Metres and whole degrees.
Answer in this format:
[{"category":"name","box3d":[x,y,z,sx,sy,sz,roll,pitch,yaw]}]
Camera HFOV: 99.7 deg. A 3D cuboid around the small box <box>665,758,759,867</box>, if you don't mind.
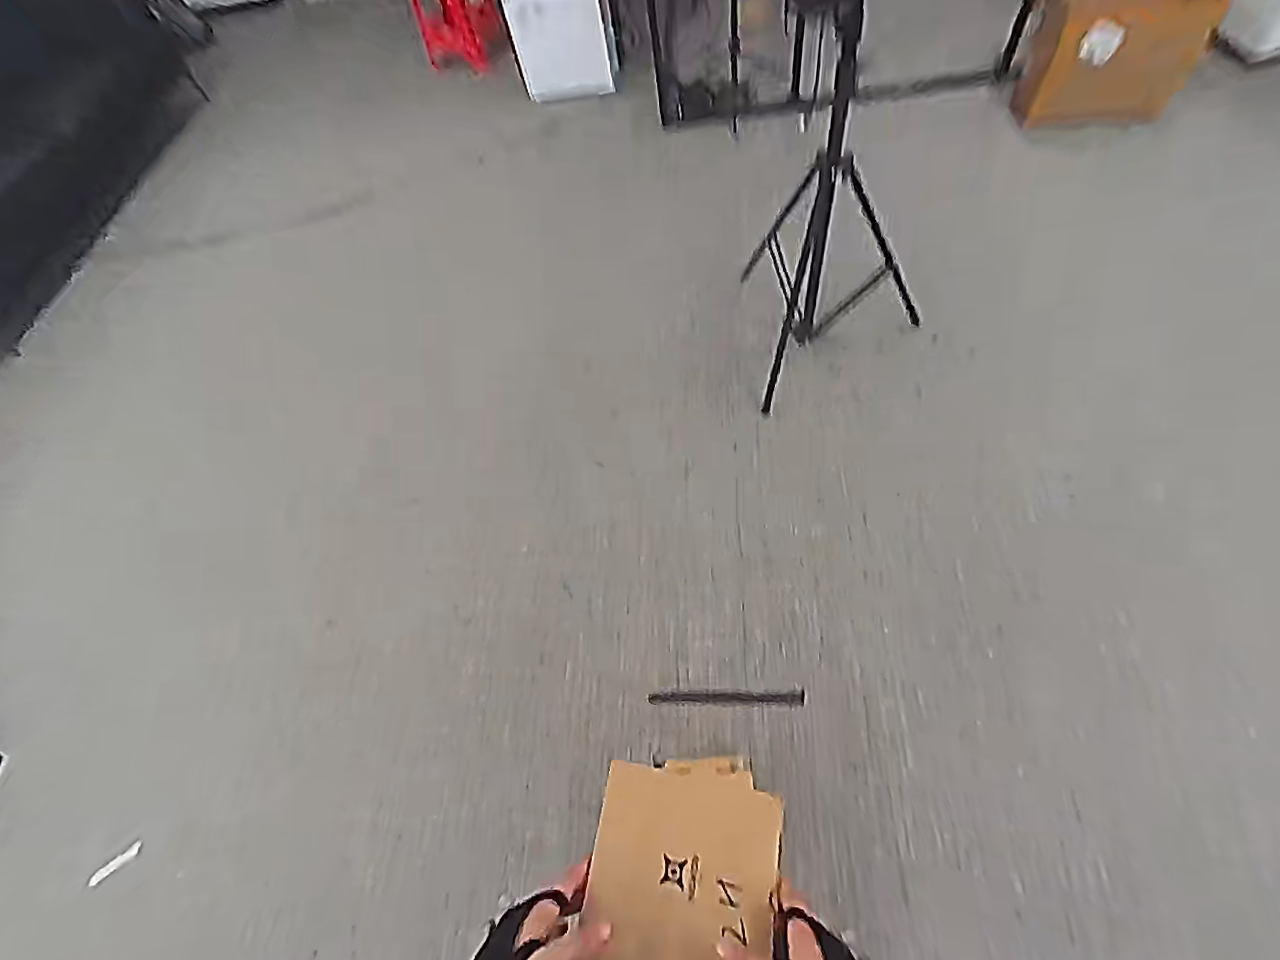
[{"category":"small box","box3d":[0.144,0.673,1.101,0.168,0.176,0.179,-7,60,6]}]
